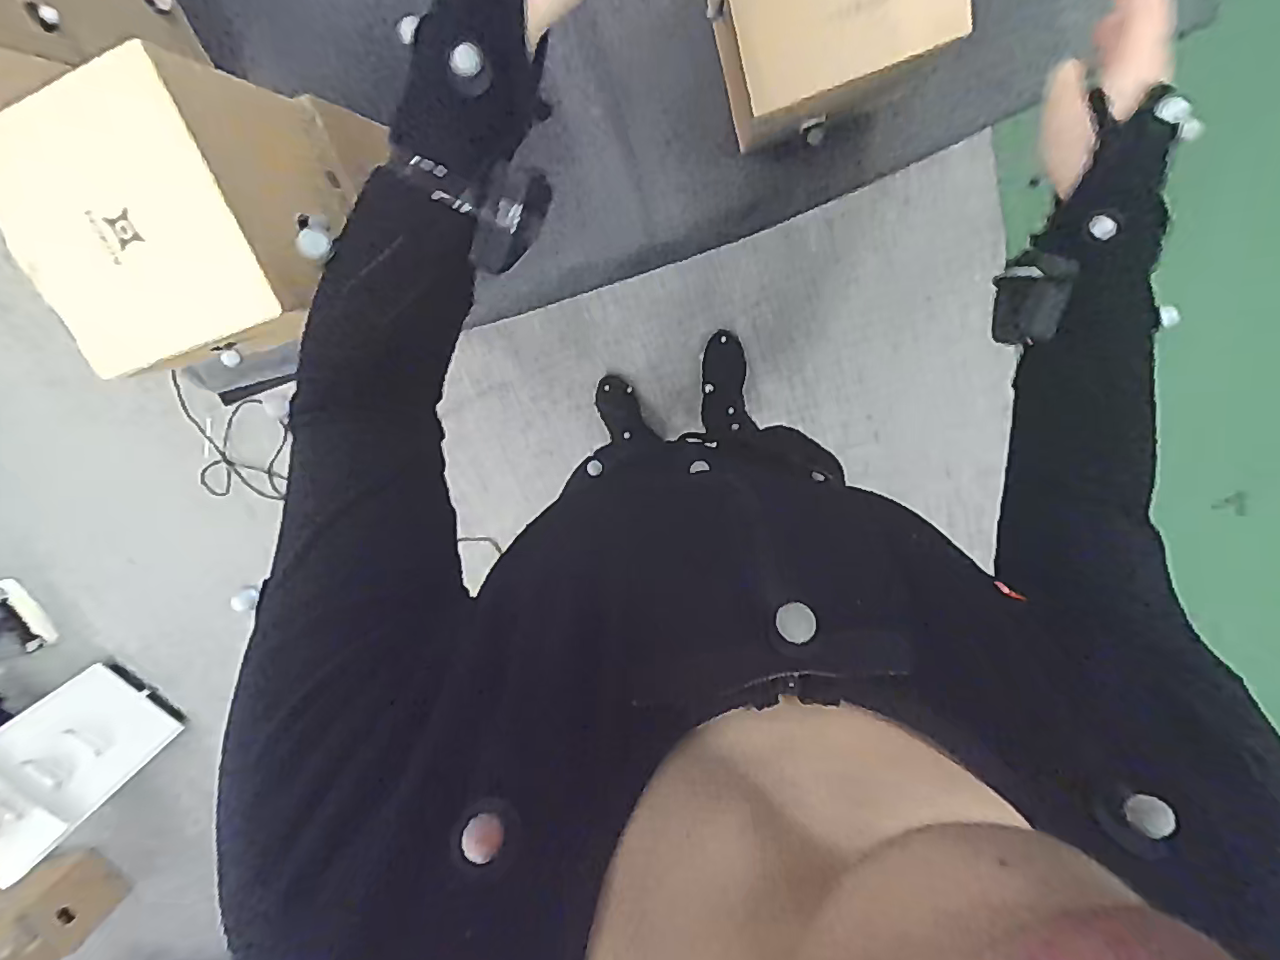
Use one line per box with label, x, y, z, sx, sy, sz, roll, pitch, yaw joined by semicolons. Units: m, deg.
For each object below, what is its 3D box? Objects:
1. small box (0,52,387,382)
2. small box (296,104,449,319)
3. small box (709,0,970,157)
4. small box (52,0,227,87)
small box;-0.340;-0.198;0.441;0.179;0.176;0.168;-14;110;13
small box;-0.333;-0.269;0.587;0.179;0.176;0.168;-13;110;12
small box;0.154;-0.414;0.467;0.168;0.176;0.179;-14;109;13
small box;-0.576;-0.447;0.545;0.168;0.176;0.179;-19;109;14
